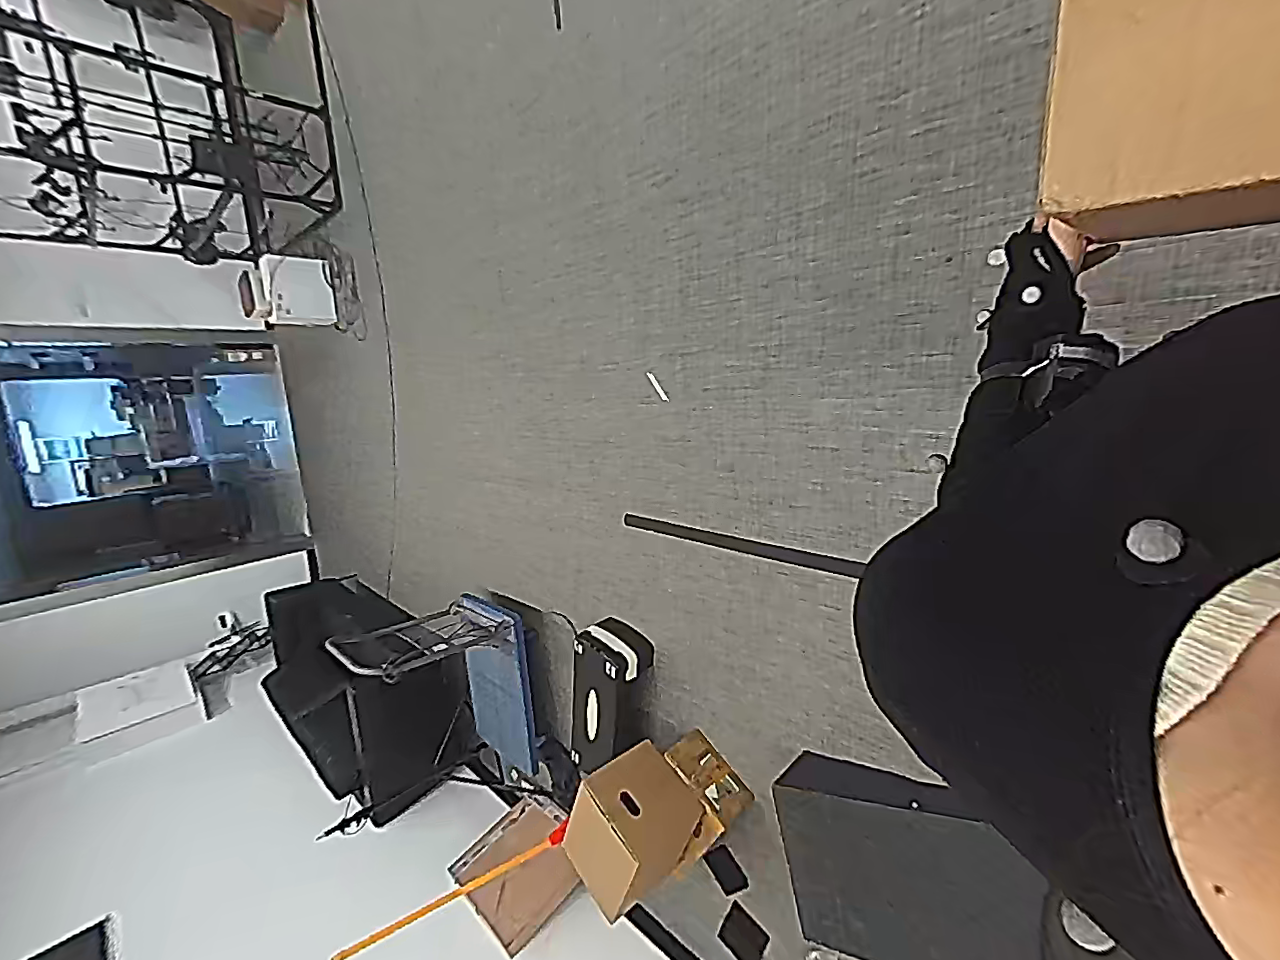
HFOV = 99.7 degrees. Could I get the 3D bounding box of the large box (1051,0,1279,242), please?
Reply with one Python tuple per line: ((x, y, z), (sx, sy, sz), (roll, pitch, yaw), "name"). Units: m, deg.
((0.432, -0.298, 0.206), (0.408, 0.320, 0.320), (9, 111, 41), "large box")
